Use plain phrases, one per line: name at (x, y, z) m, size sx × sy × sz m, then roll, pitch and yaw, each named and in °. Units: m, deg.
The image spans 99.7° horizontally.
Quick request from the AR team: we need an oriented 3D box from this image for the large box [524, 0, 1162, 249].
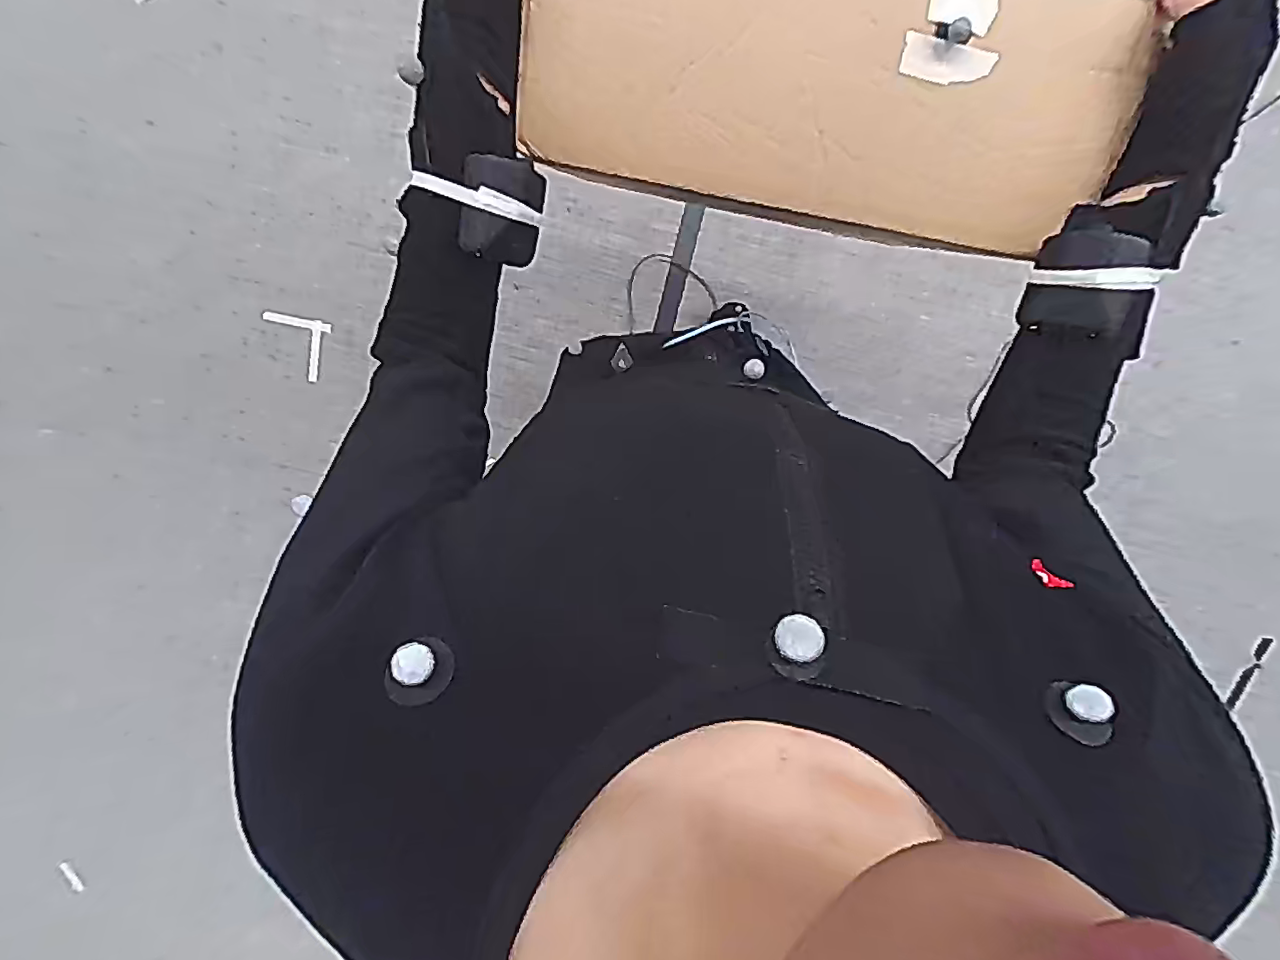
large box at (0.136, -0.403, 0.461) m, size 0.408 × 0.320 × 0.320 m, roll 9°, pitch 118°, yaw -3°
